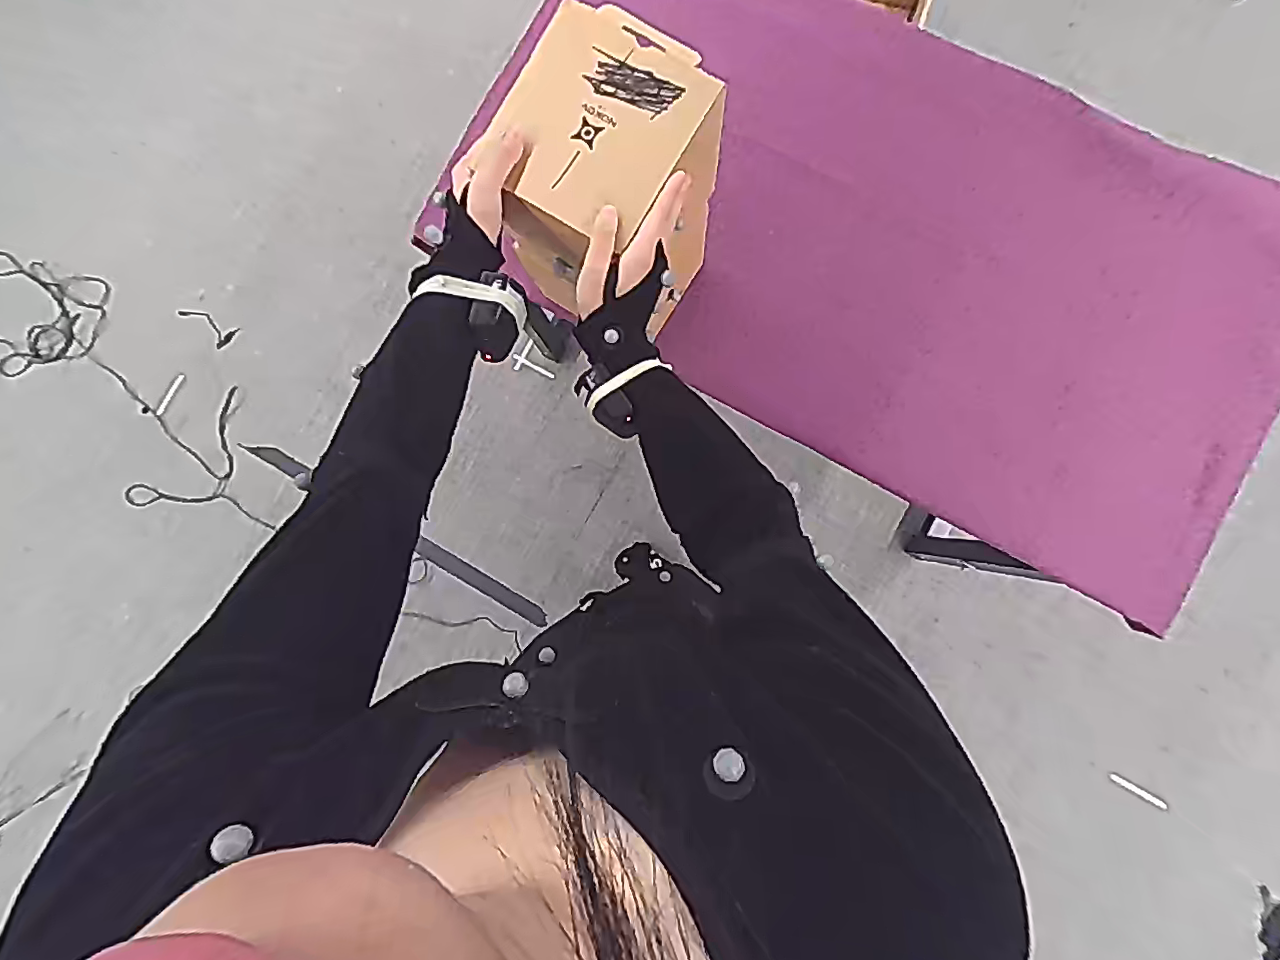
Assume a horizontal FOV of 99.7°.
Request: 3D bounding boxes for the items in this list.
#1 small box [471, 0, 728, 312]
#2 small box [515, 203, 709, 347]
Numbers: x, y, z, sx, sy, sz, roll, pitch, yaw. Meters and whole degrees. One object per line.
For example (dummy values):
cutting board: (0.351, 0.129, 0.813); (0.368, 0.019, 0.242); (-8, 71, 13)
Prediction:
small box: (-0.032, -0.305, 0.548); (0.168, 0.176, 0.179); (32, 92, 4)
small box: (-0.028, -0.295, 0.712); (0.179, 0.176, 0.168); (33, 91, 4)
